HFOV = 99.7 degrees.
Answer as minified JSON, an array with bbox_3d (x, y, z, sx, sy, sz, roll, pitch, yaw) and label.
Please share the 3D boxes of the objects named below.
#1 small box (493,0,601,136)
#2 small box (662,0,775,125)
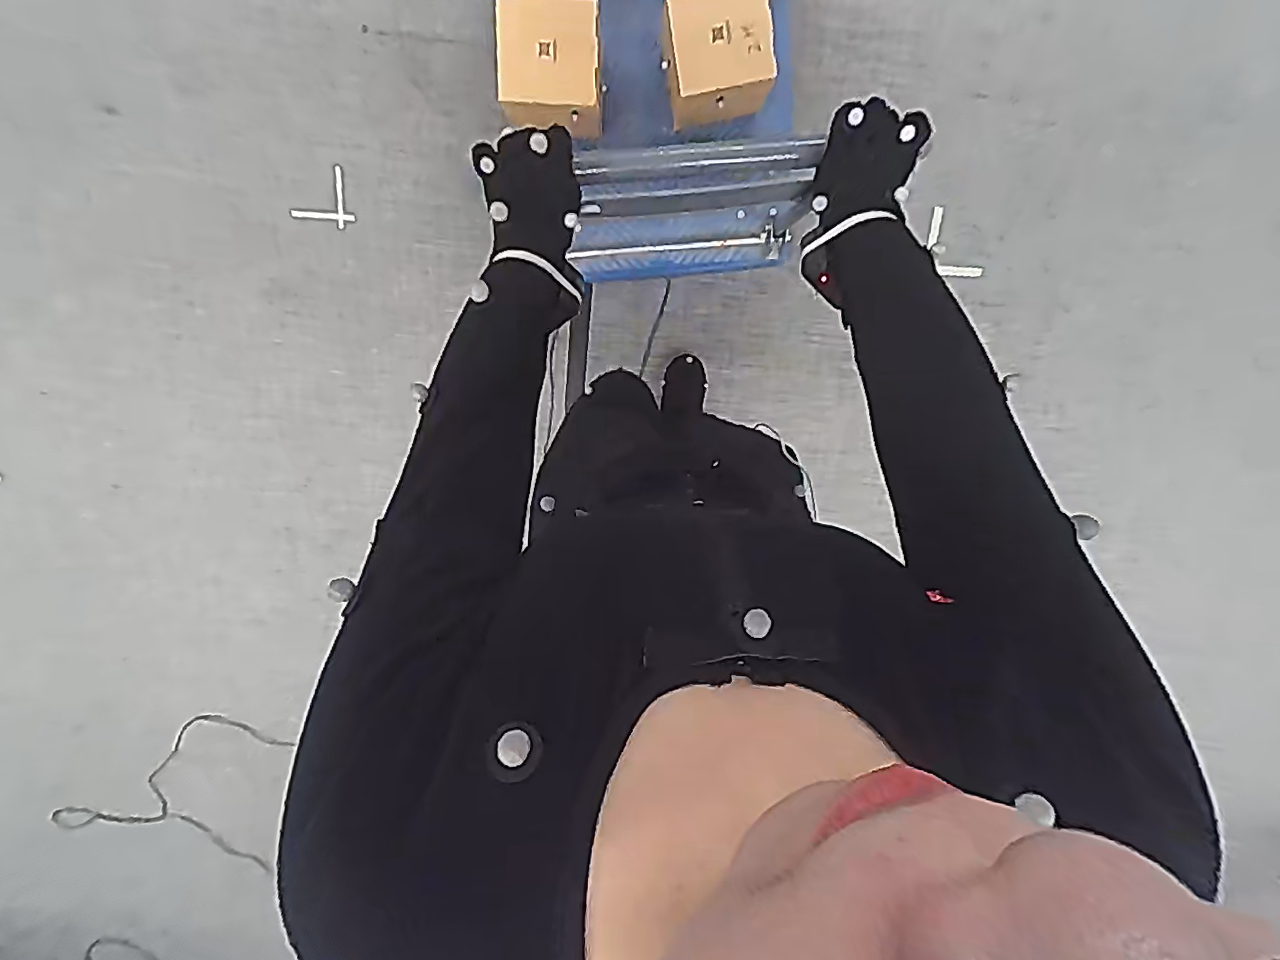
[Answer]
[{"bbox_3d":[-0.166,-0.765,1.009,0.179,0.176,0.168,1,105,-2],"label":"small box"},{"bbox_3d":[0.137,-0.790,1.005,0.179,0.176,0.168,-10,105,2],"label":"small box"}]
